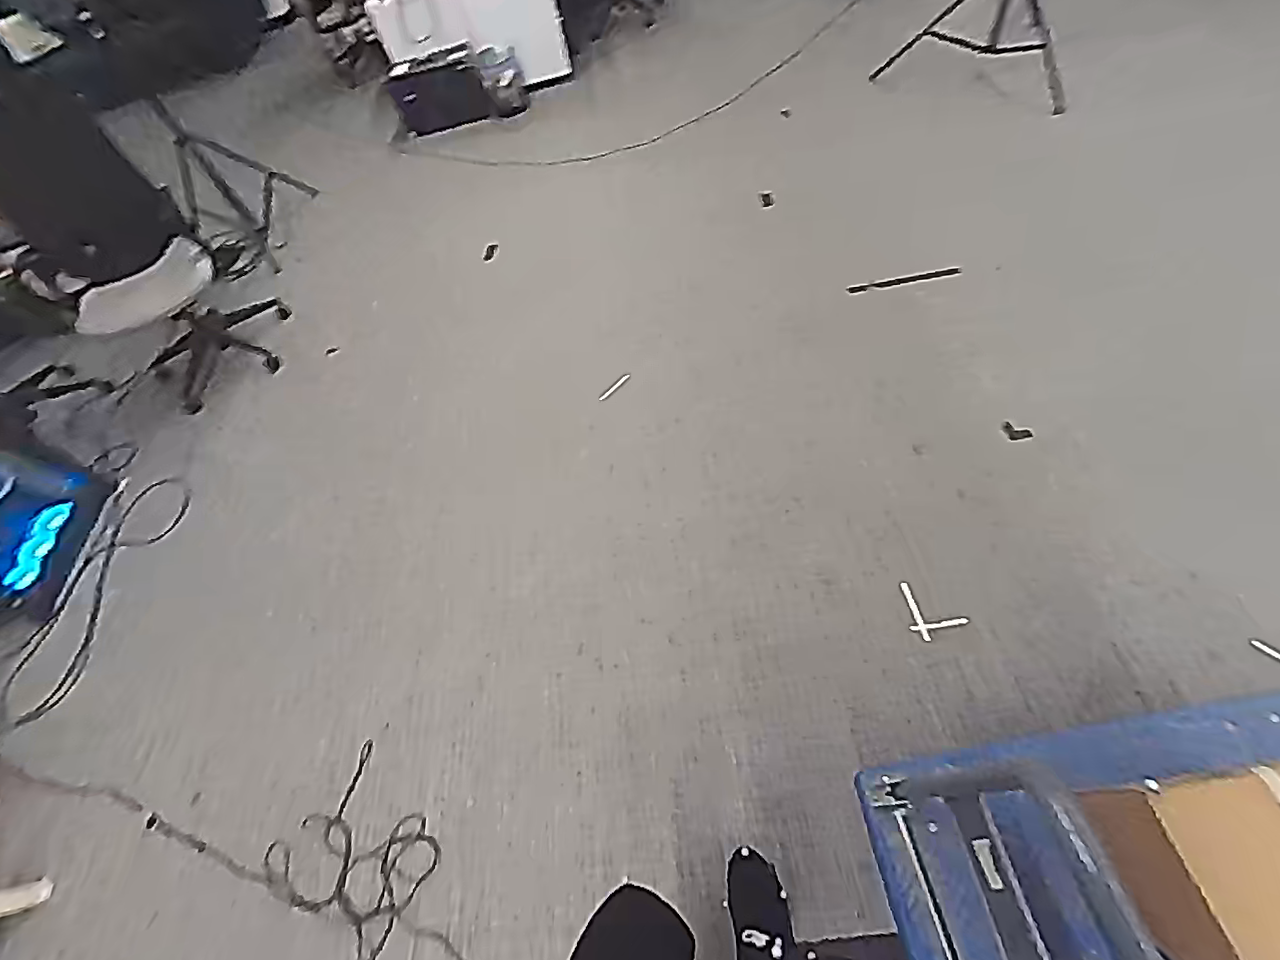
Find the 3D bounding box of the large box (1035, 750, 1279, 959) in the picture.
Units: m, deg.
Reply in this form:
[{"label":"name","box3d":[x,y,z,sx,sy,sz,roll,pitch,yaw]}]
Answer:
[{"label":"large box","box3d":[0.888,0.647,0.776,0.320,0.320,0.408,-13,55,3]}]
